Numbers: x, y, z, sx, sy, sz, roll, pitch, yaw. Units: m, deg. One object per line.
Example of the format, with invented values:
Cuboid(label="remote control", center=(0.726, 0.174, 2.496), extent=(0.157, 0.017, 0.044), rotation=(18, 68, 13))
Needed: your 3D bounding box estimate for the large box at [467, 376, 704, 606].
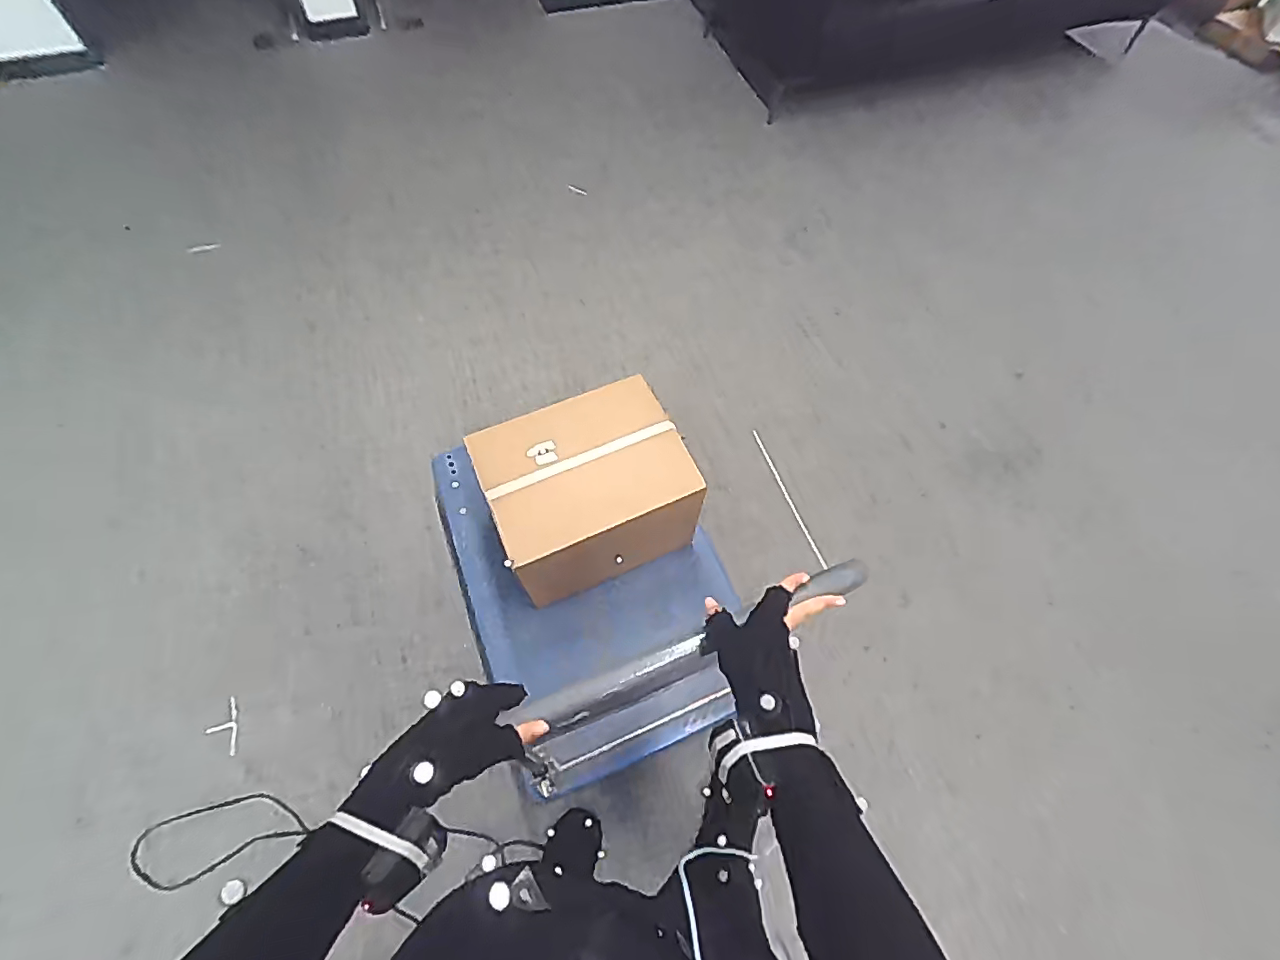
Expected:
Cuboid(label="large box", center=(-0.114, 0.034, 1.221), extent=(0.408, 0.320, 0.320), rotation=(-23, 65, -11))
